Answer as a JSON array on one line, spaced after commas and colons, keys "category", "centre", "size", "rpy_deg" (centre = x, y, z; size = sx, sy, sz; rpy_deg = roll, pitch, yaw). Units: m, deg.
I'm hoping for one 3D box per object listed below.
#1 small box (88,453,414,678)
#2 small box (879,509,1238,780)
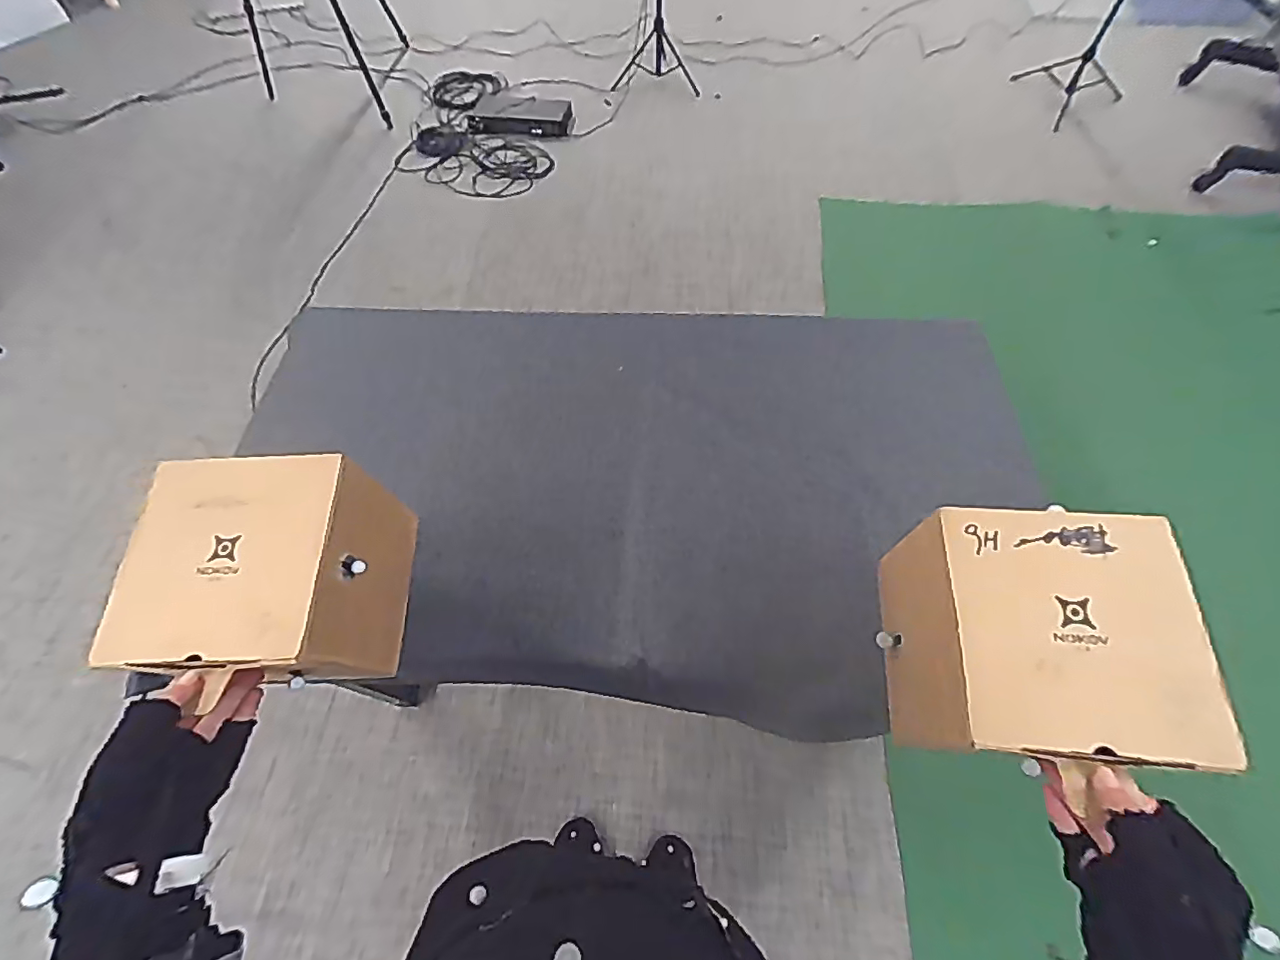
[{"category": "small box", "centre": [-0.333, 0.091, 0.509], "size": [0.168, 0.176, 0.179], "rpy_deg": [-2, 66, 1]}, {"category": "small box", "centre": [0.317, 0.137, 0.459], "size": [0.168, 0.176, 0.179], "rpy_deg": [3, 68, 7]}]
